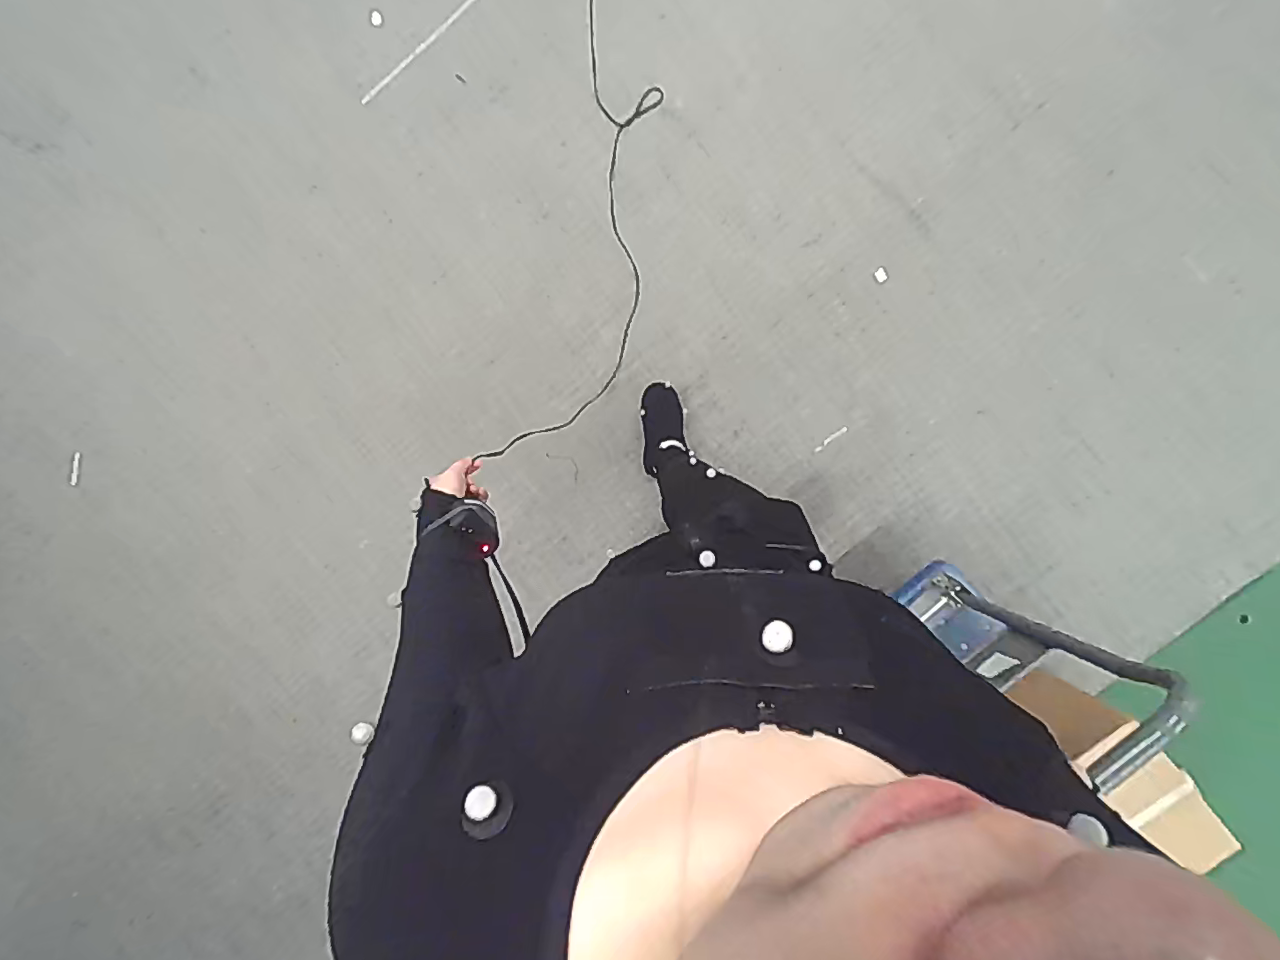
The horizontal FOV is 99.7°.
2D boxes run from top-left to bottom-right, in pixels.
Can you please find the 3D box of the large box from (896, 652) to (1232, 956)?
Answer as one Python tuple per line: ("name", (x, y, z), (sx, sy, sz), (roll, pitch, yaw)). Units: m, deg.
("large box", (0.857, 0.652, 1.157), (0.408, 0.320, 0.320), (-40, 89, 4))
